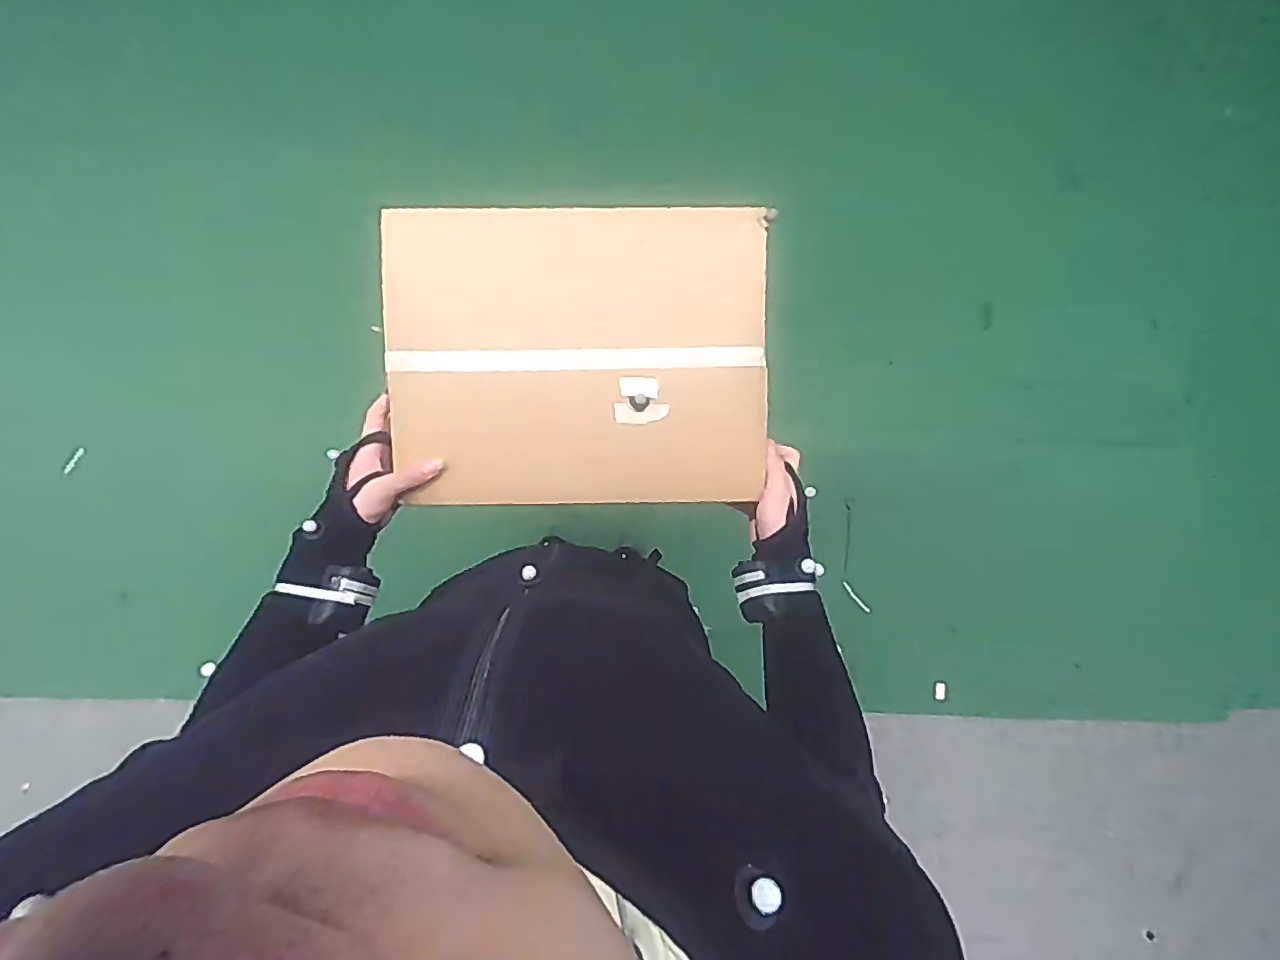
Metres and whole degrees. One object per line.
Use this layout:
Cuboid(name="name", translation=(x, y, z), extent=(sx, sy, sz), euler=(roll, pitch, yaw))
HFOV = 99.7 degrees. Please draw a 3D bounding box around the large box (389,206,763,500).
Cuboid(name="large box", translation=(-0.070, -0.148, 0.736), extent=(0.408, 0.320, 0.320), euler=(-1, 95, -2))
